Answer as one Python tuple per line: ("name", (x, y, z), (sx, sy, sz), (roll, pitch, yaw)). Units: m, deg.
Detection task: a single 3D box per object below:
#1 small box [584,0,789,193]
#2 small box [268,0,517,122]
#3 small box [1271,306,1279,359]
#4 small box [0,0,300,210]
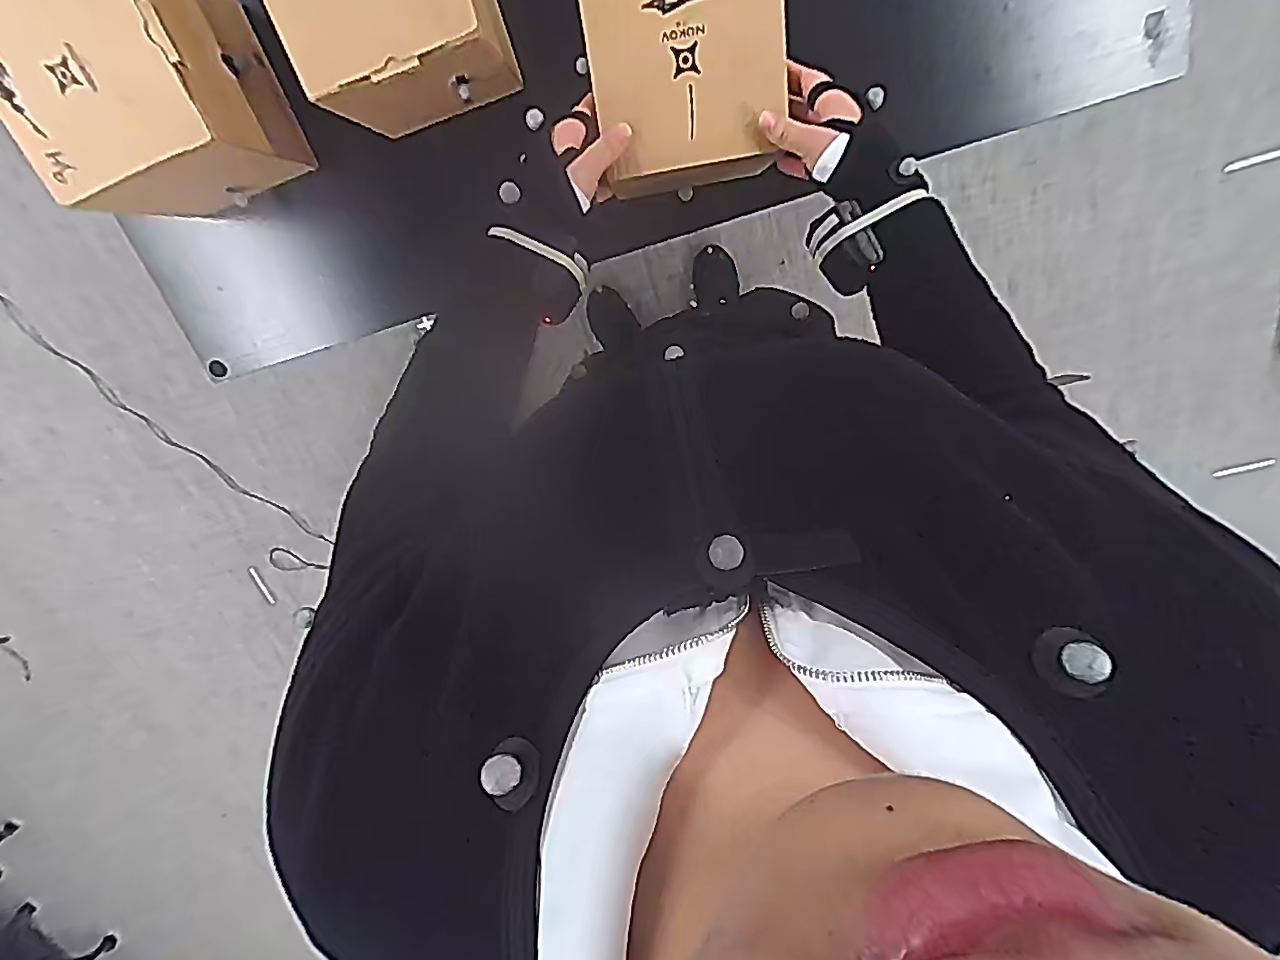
("small box", (0.040, -0.392, 0.521), (0.168, 0.176, 0.179), (-7, 113, 4))
("small box", (-0.231, -0.460, 0.500), (0.168, 0.176, 0.179), (-16, 111, 6))
("small box", (1.683, -0.376, 1.286), (0.168, 0.176, 0.179), (-14, 113, 8))
("small box", (-0.479, -0.385, 0.534), (0.179, 0.176, 0.168), (-17, 111, 7))
